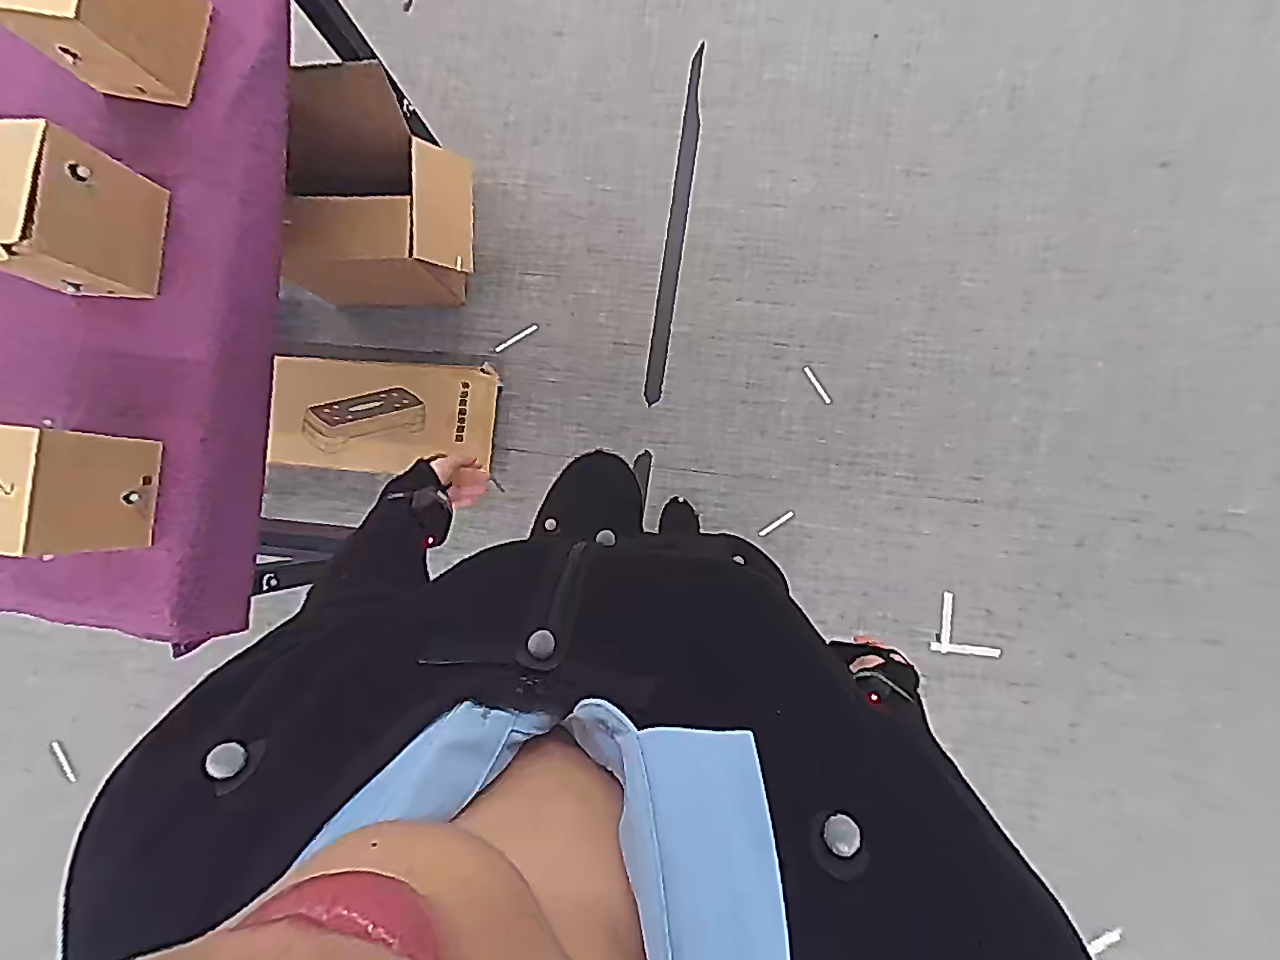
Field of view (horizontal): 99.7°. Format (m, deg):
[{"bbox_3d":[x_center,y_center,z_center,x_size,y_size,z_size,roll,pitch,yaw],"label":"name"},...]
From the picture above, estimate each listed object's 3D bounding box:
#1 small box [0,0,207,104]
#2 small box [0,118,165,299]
[{"bbox_3d":[-0.786,-0.695,0.789,0.168,0.176,0.179,12,88,5],"label":"small box"},{"bbox_3d":[-0.839,-0.381,0.778,0.168,0.176,0.179,5,88,7],"label":"small box"}]
